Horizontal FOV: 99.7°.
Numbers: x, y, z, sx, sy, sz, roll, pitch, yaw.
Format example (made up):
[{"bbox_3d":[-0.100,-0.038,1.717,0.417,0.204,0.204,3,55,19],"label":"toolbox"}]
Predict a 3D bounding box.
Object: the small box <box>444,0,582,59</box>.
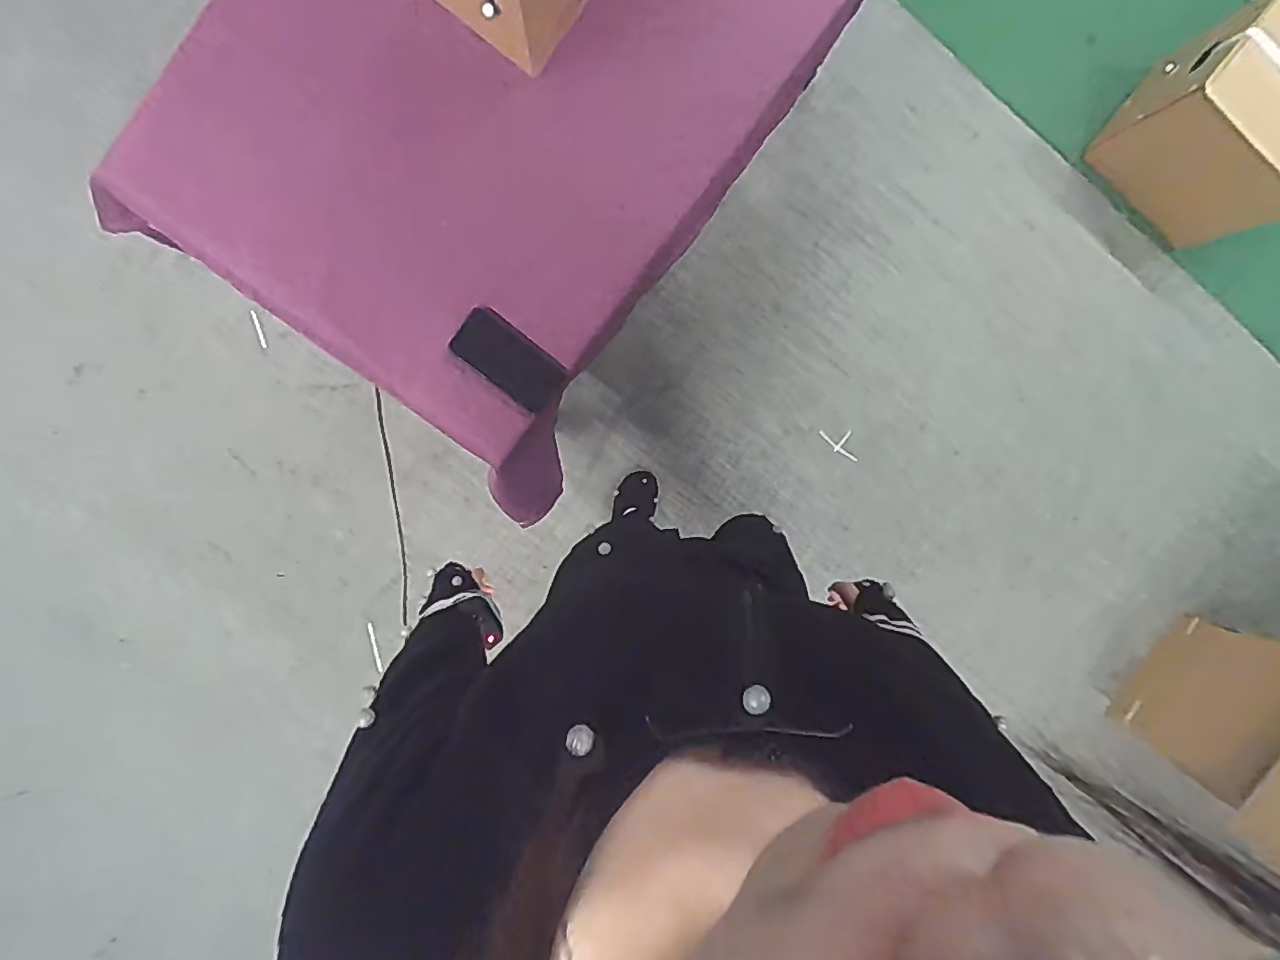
[{"bbox_3d":[-0.149,-0.620,0.594,0.179,0.176,0.168,36,92,-7],"label":"small box"}]
